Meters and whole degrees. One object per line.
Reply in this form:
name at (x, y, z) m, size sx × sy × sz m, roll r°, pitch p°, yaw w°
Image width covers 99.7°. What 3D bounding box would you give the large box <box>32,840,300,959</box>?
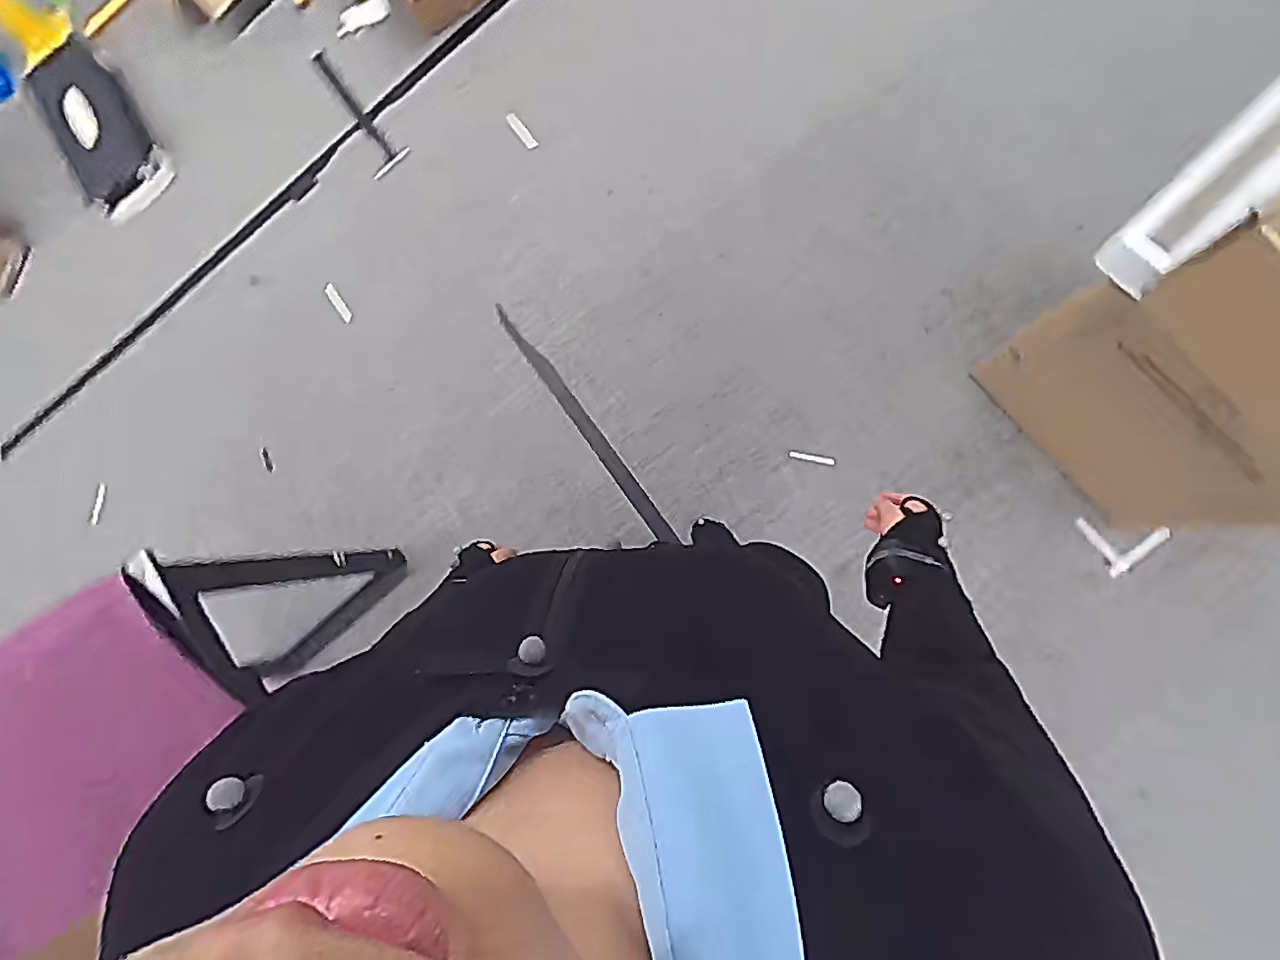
large box at (-0.647, 0.781, 0.667) m, size 0.320 × 0.320 × 0.408 m, roll -38°, pitch 81°, yaw 6°
